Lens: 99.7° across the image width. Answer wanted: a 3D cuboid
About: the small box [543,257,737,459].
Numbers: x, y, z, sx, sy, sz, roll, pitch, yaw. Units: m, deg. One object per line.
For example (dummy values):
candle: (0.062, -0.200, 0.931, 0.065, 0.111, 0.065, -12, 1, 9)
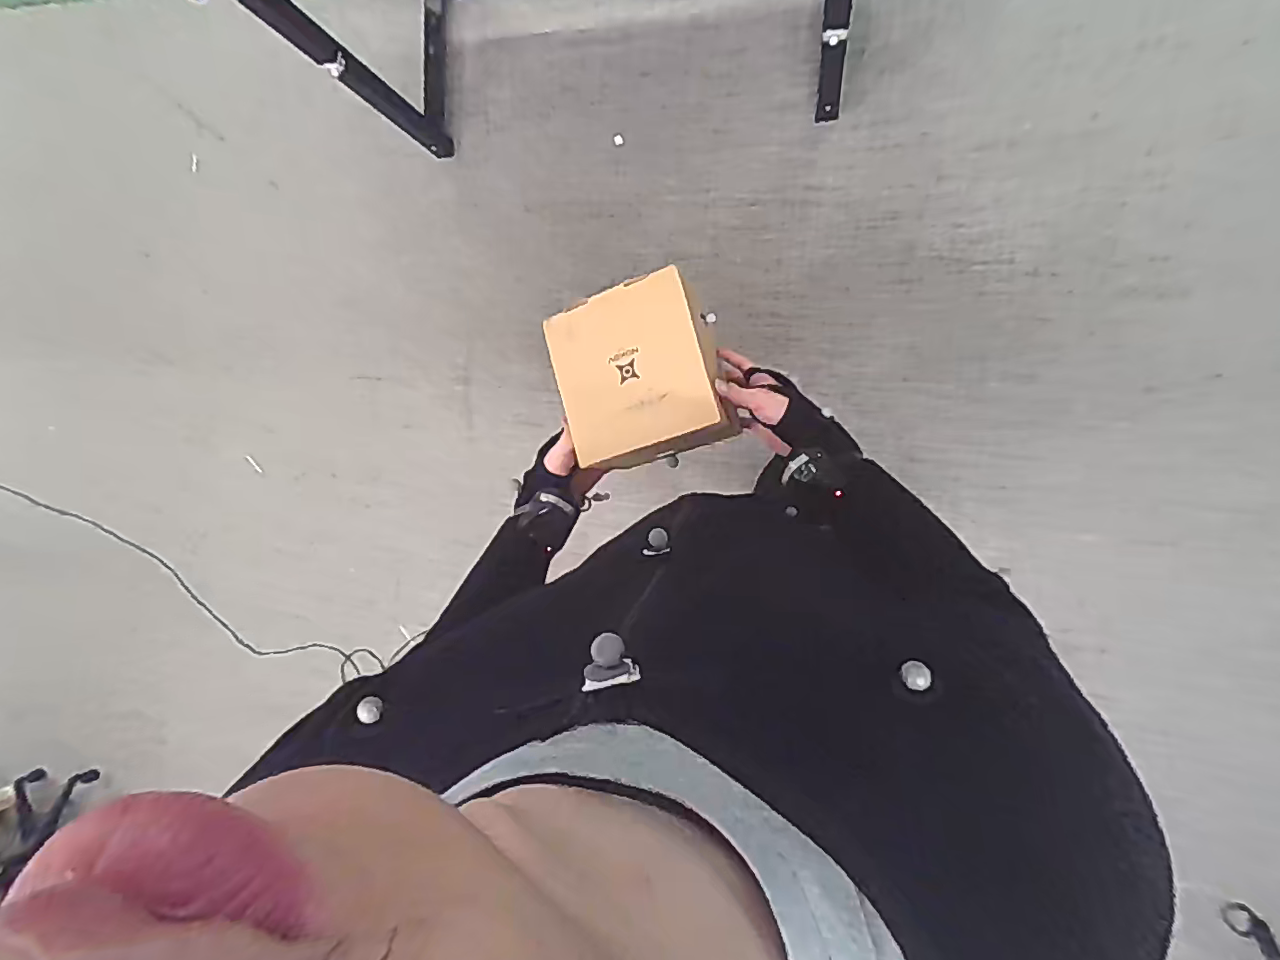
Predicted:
small box: (0.009, -0.129, 0.652, 0.168, 0.176, 0.179, -16, 86, 18)
